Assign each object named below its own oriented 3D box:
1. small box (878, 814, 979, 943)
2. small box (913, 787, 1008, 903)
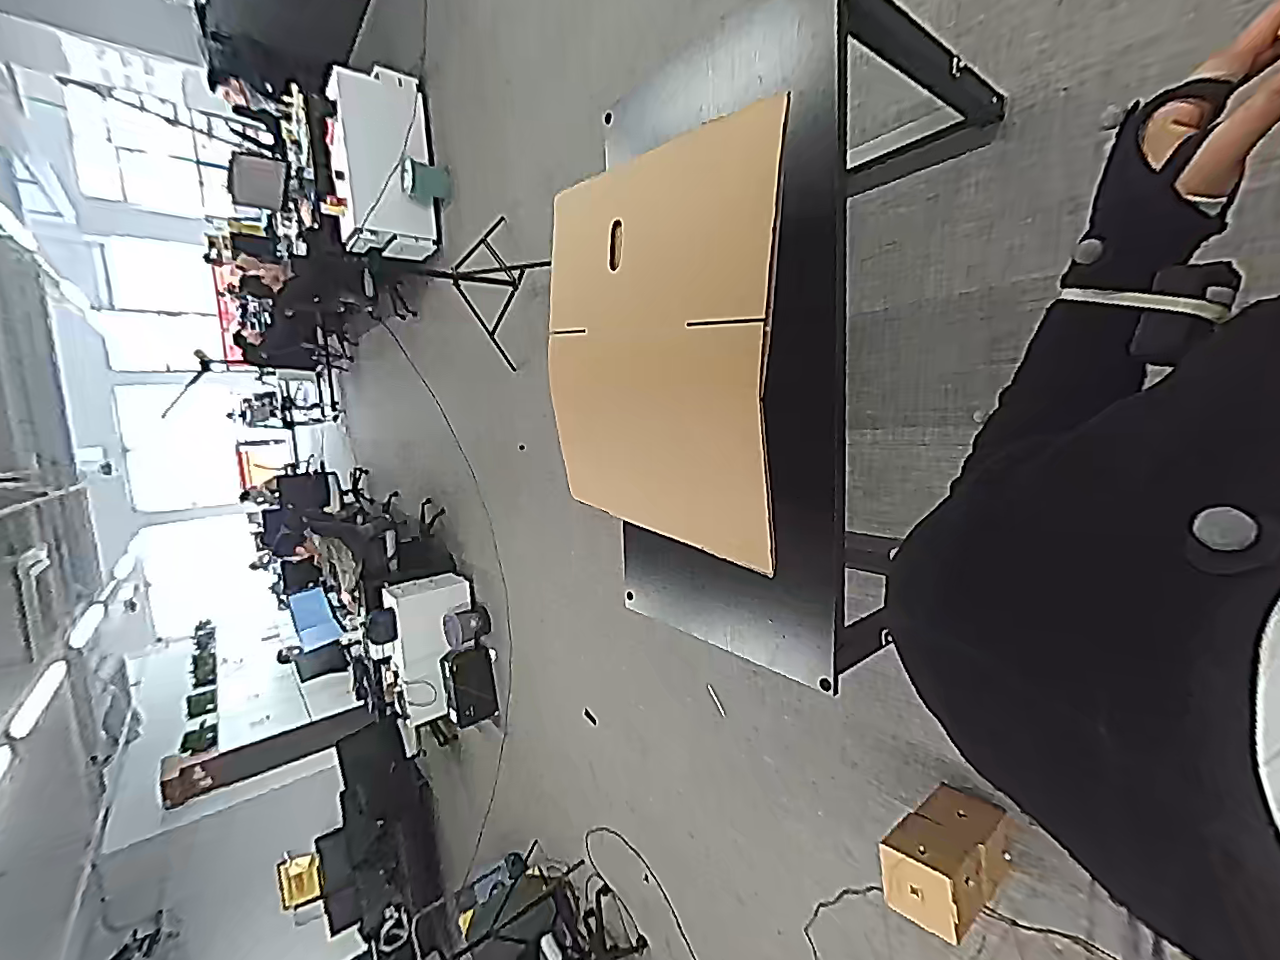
[{"bbox_3d":[0.728,0.983,1.357,0.179,0.176,0.168,-3,93,53],"label":"small box"},{"bbox_3d":[0.859,0.963,1.451,0.179,0.176,0.168,2,98,51],"label":"small box"}]
